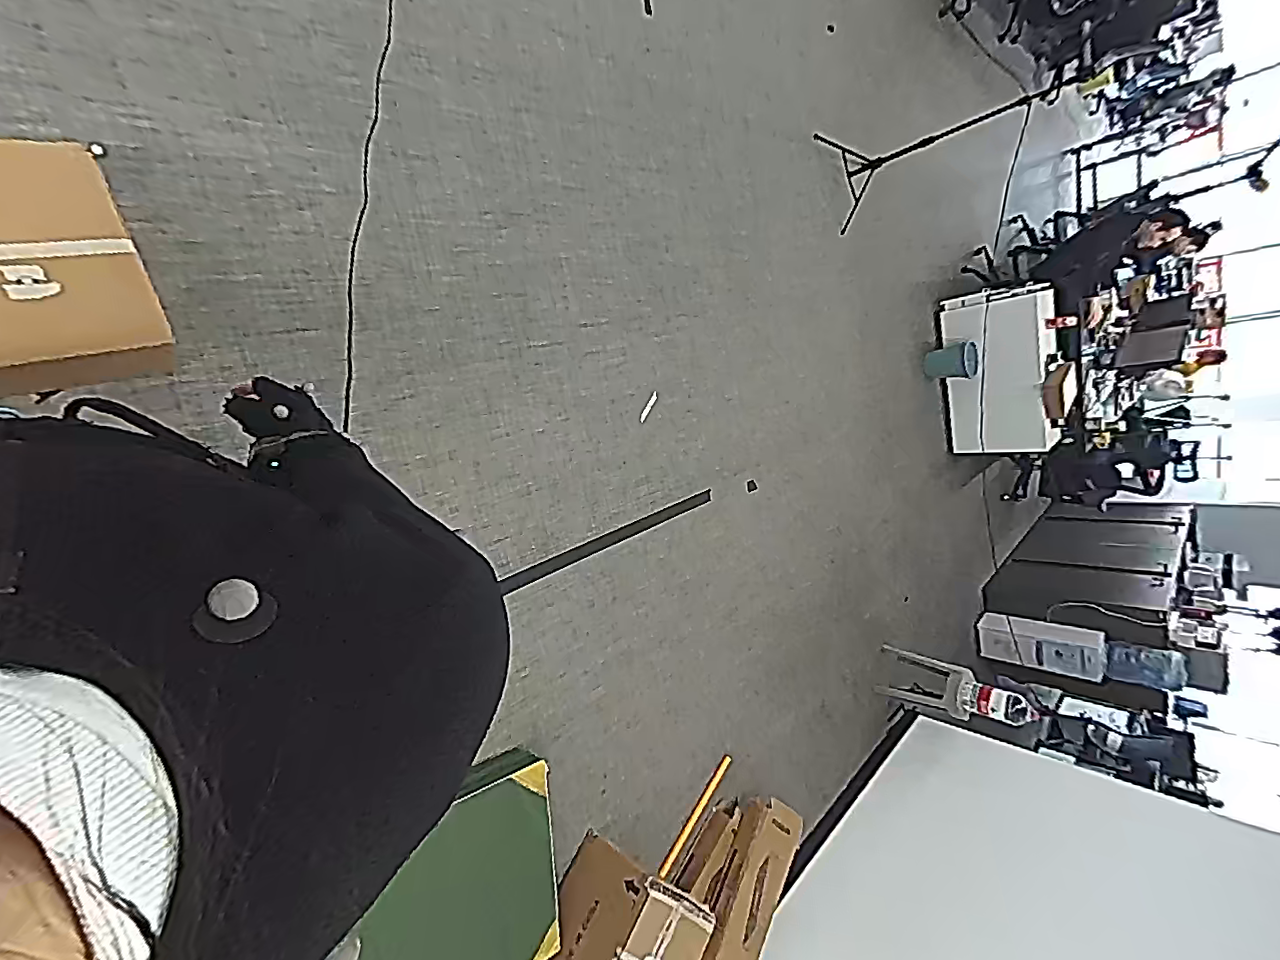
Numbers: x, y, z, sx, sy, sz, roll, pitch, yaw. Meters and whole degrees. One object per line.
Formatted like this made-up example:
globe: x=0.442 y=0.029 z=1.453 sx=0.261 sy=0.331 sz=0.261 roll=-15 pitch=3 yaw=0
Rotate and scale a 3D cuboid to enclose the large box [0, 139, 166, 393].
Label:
large box: x=-1.075 y=-0.316 z=0.866 sx=0.408 sy=0.320 sz=0.320 roll=-25 pitch=107 yaw=-39
